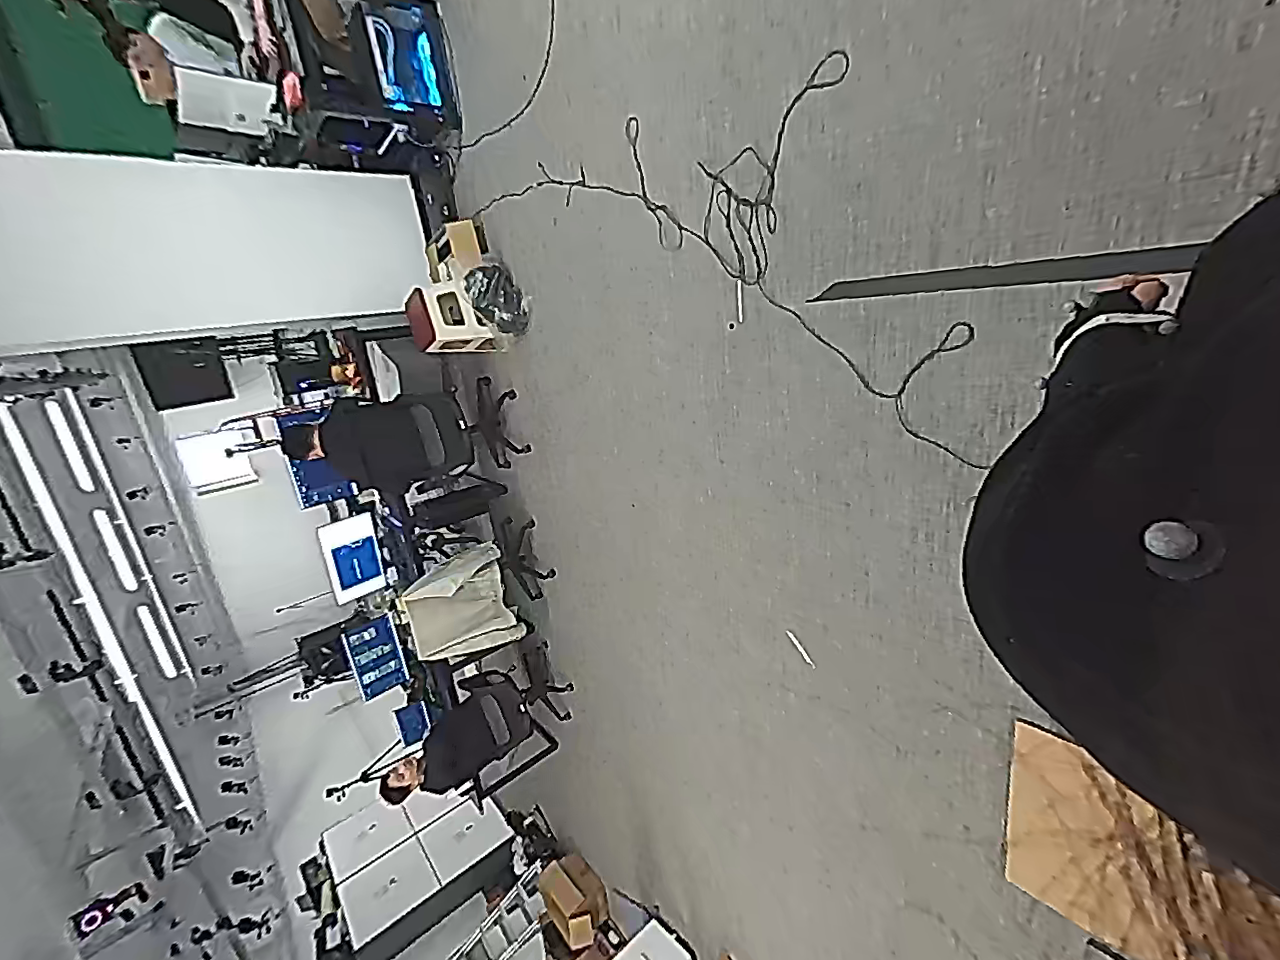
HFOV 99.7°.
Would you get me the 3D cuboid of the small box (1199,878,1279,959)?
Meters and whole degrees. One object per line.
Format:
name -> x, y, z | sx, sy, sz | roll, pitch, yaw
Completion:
small box -> 1.356, 1.028, 1.174 | 0.168, 0.176, 0.179 | 19, 121, 49
